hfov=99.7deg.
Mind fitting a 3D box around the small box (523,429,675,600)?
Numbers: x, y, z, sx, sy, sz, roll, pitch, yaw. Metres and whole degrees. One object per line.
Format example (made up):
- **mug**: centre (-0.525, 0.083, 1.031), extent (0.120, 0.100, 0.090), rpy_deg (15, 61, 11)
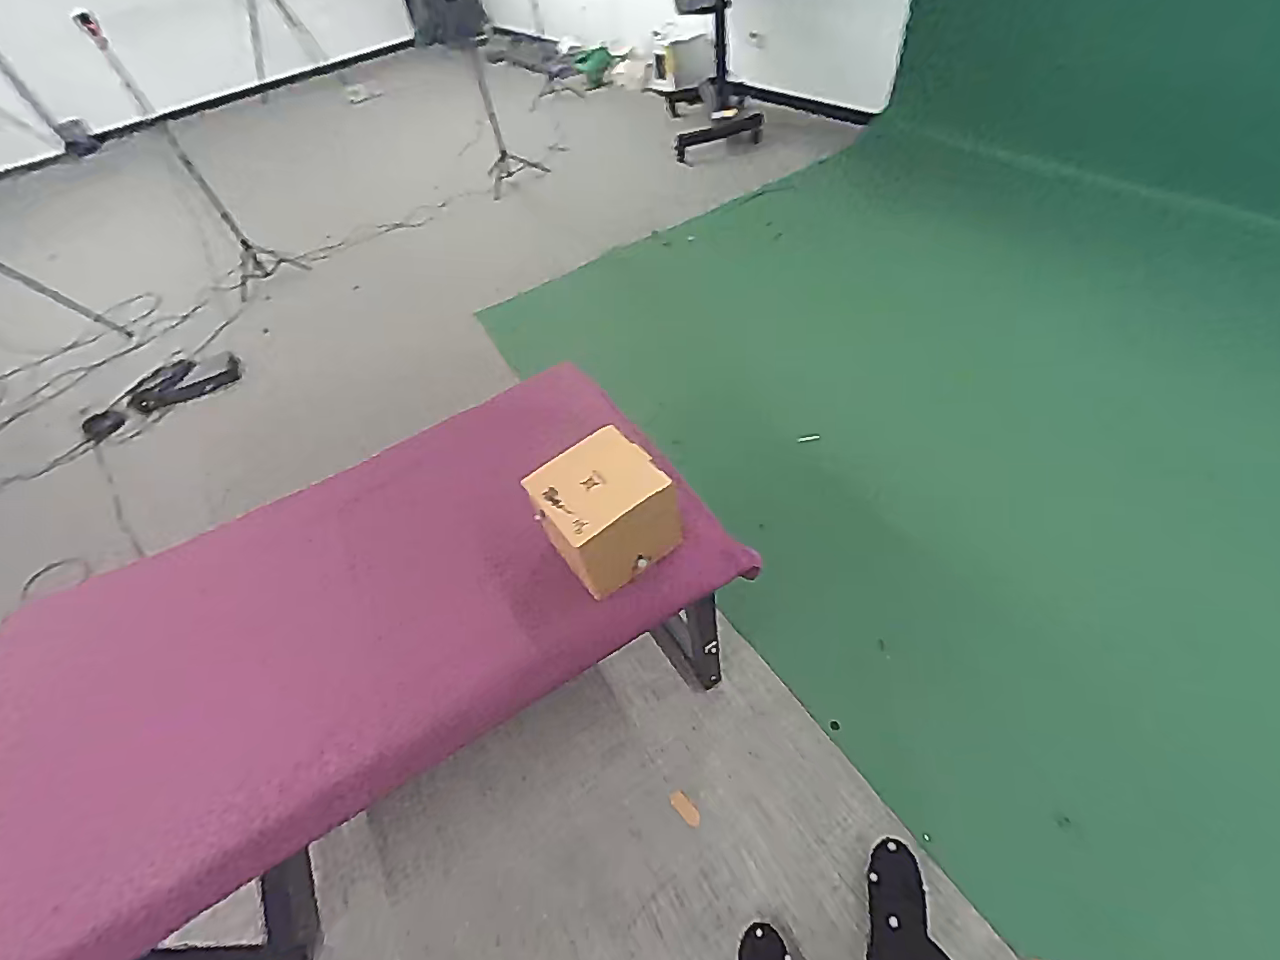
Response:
- **small box**: centre (-0.057, 0.057, 0.872), extent (0.179, 0.176, 0.168), rpy_deg (-34, 52, -17)
